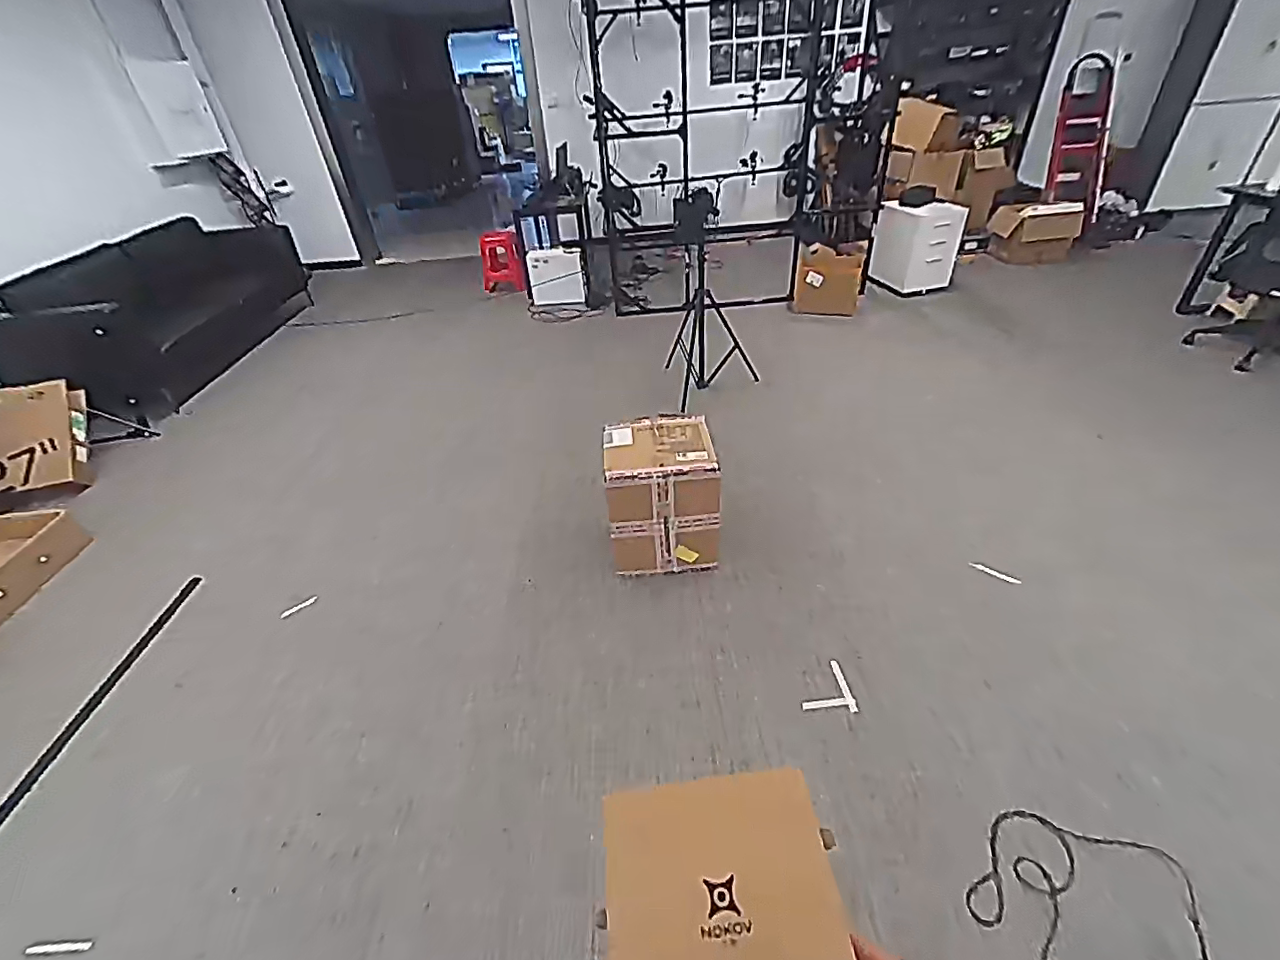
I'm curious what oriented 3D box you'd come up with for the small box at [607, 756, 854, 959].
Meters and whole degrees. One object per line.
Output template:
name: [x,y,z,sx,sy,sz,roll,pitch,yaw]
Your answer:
small box: [0.065,0.356,0.443,0.168,0.176,0.179,-7,44,0]
